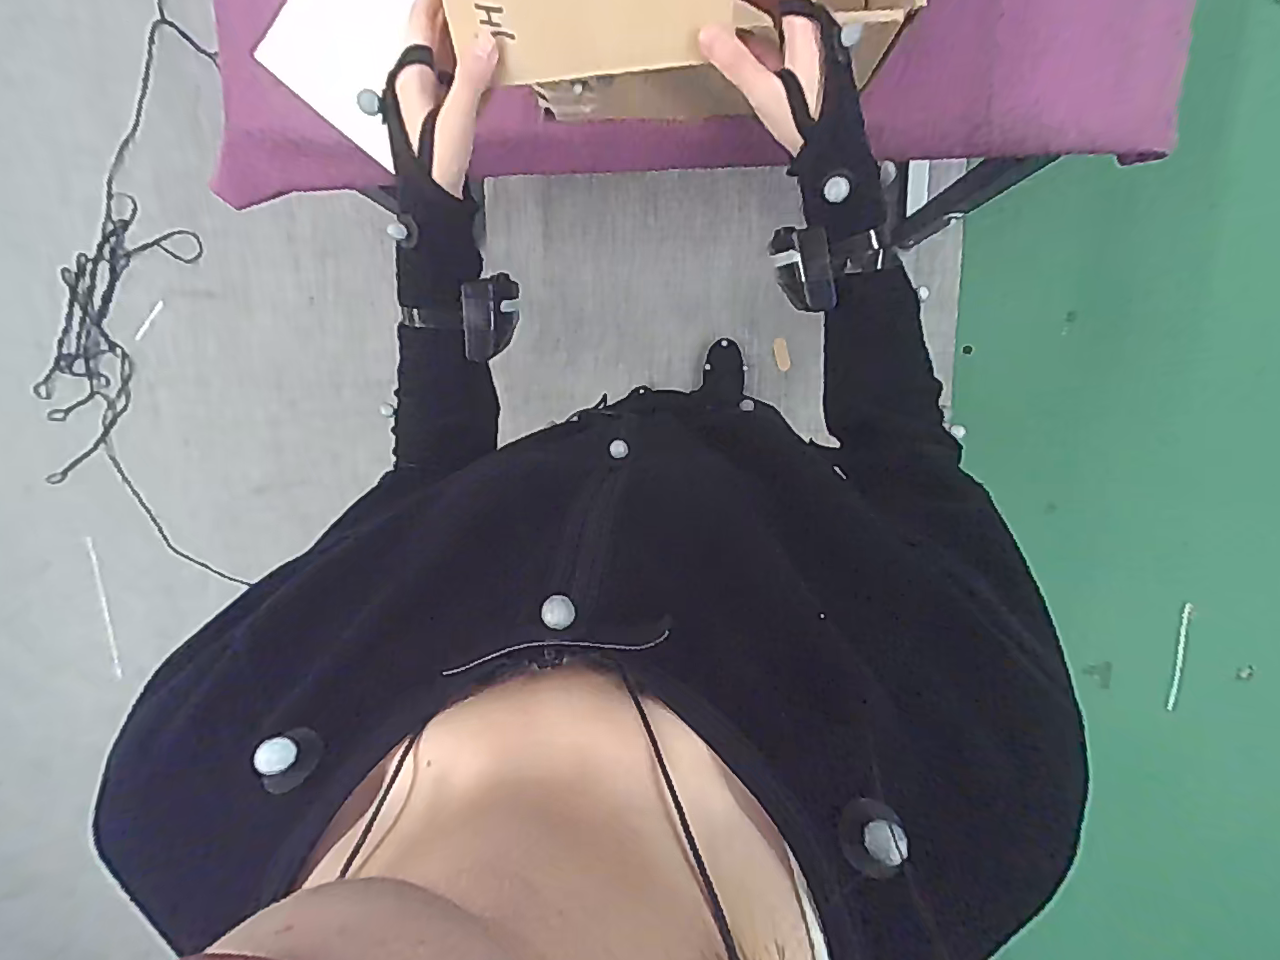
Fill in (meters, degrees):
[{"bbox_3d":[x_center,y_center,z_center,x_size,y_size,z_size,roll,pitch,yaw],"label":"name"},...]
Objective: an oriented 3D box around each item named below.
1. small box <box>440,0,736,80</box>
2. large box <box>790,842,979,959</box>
[{"bbox_3d":[-0.038,-0.370,0.344,0.179,0.176,0.168,-5,131,1],"label":"small box"},{"bbox_3d":[0.681,1.302,1.517,0.408,0.320,0.320,-15,99,4],"label":"large box"}]
